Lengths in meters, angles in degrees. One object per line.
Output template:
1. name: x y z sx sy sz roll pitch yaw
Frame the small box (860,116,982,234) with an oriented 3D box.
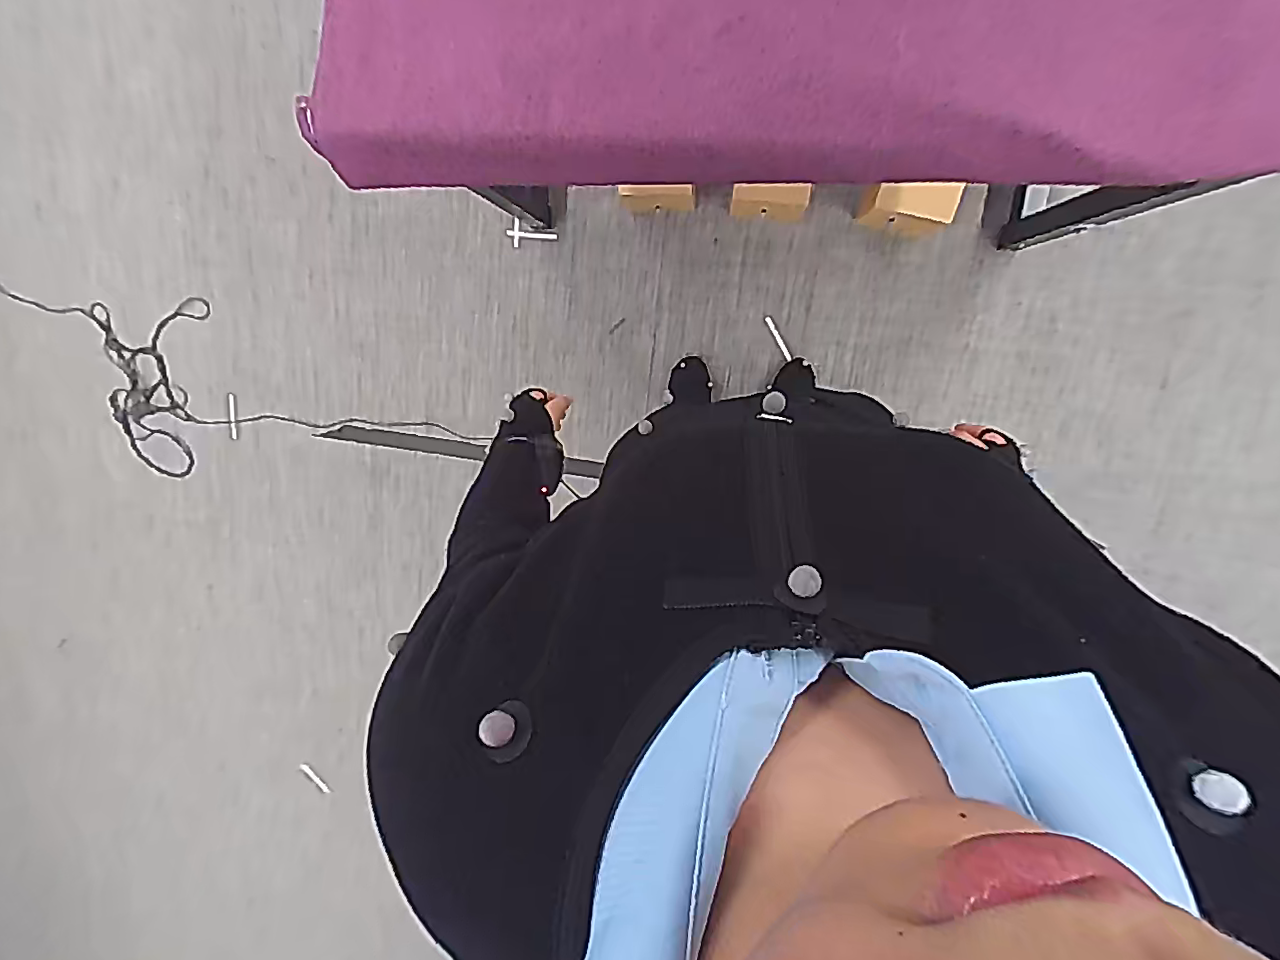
1. small box: 0.607 -0.663 1.198 0.168 0.176 0.179 15 105 4

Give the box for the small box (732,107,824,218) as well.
1. small box: 0.303 -0.709 1.225 0.168 0.176 0.179 8 105 5
